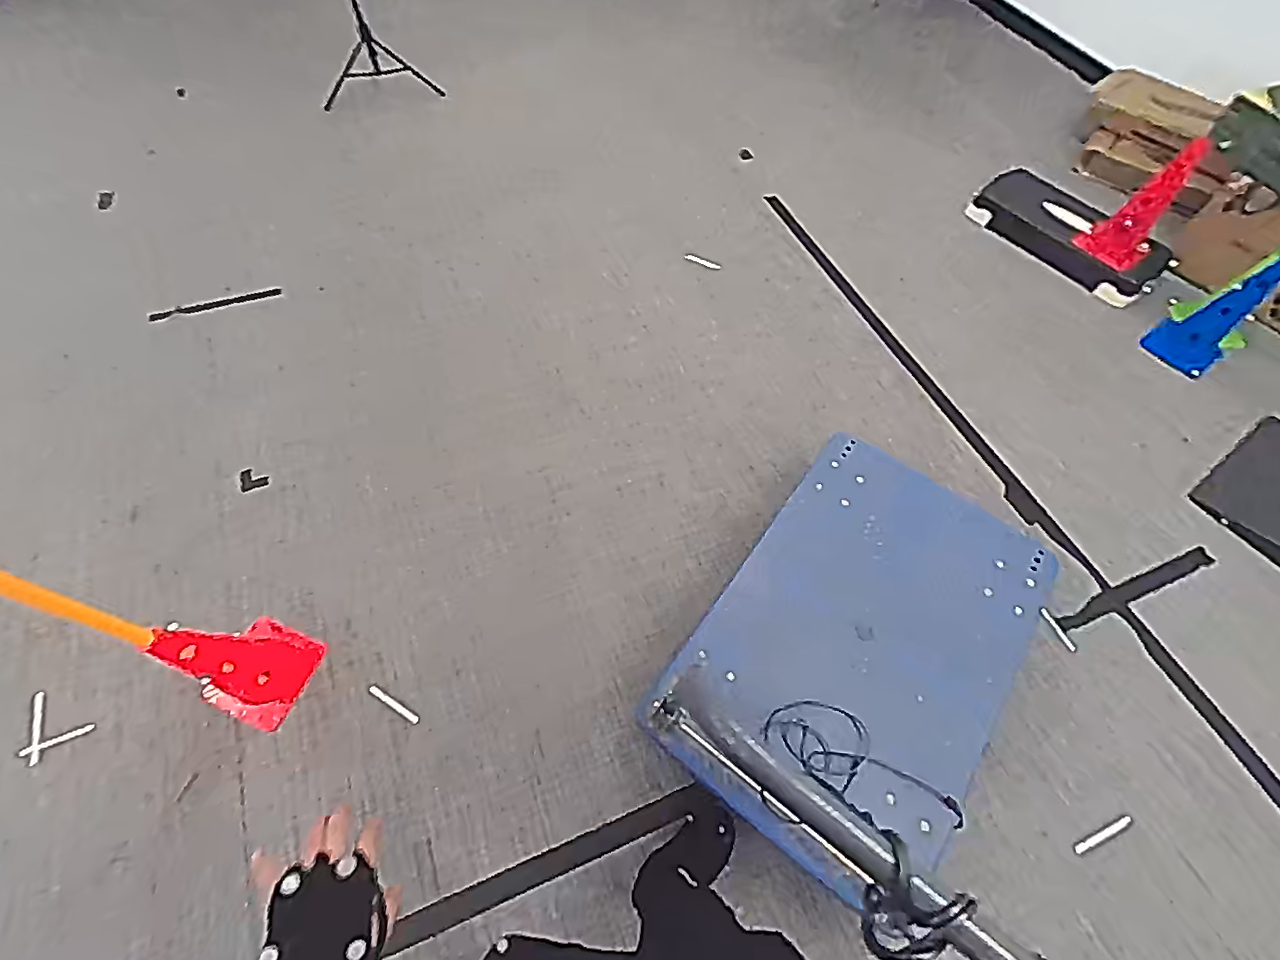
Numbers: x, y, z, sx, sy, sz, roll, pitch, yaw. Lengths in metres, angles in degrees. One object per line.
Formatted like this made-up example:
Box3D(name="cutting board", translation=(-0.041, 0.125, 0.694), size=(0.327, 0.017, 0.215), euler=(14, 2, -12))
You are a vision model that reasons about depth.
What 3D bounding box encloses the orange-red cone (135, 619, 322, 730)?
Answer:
Box3D(name="orange-red cone", translation=(-0.842, 0.355, 1.072), size=(0.199, 0.360, 0.198), euler=(22, 64, 8))
